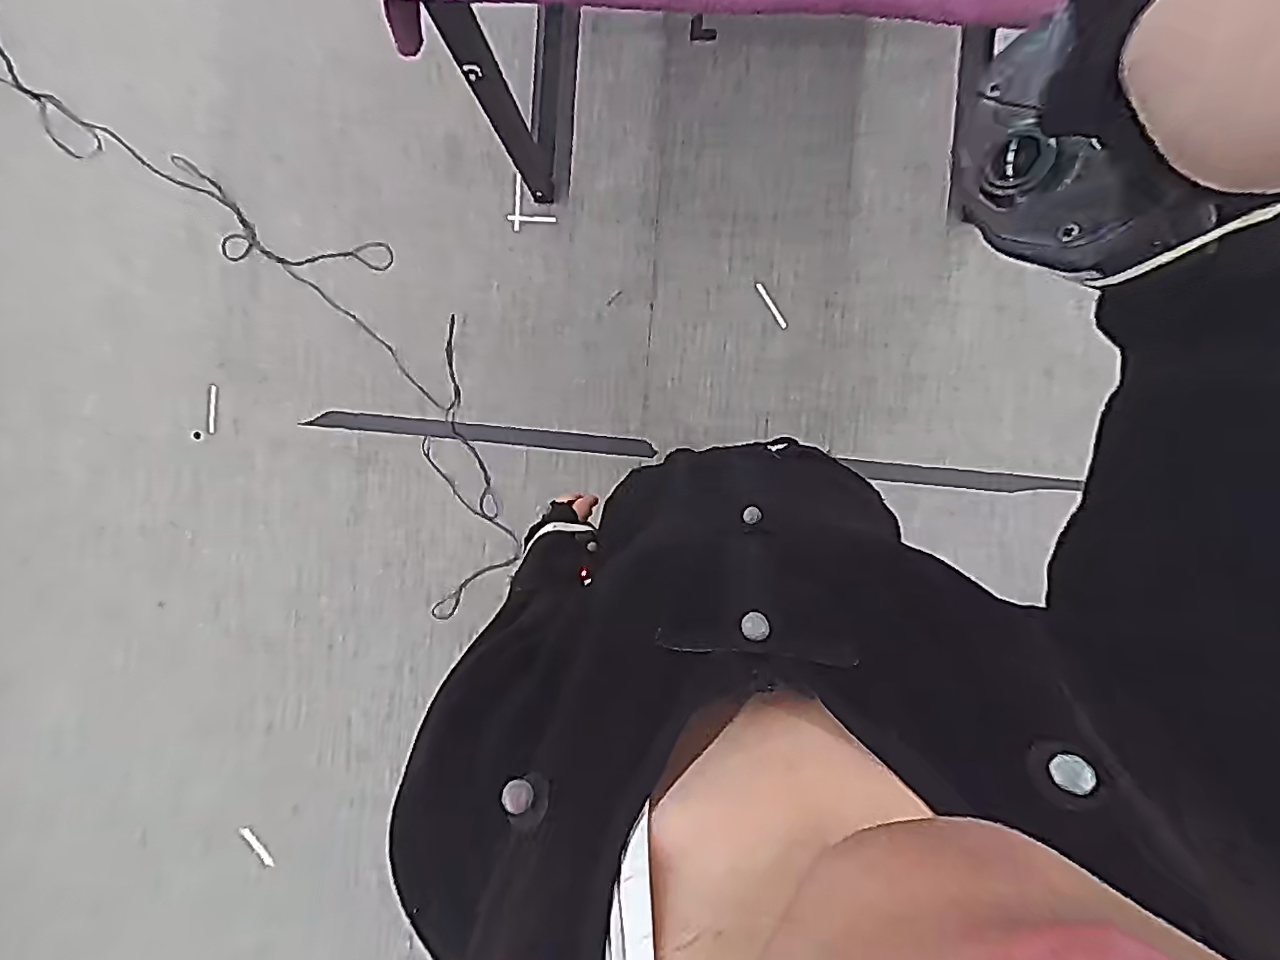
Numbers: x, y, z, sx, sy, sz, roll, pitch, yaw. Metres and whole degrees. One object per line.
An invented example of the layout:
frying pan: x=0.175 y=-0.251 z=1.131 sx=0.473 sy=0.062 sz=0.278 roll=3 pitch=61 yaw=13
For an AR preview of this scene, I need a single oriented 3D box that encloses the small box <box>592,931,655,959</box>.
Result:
small box: x=-0.043 y=1.367 z=1.451 sx=0.168 sy=0.176 sz=0.179 roll=-4 pitch=92 yaw=4
